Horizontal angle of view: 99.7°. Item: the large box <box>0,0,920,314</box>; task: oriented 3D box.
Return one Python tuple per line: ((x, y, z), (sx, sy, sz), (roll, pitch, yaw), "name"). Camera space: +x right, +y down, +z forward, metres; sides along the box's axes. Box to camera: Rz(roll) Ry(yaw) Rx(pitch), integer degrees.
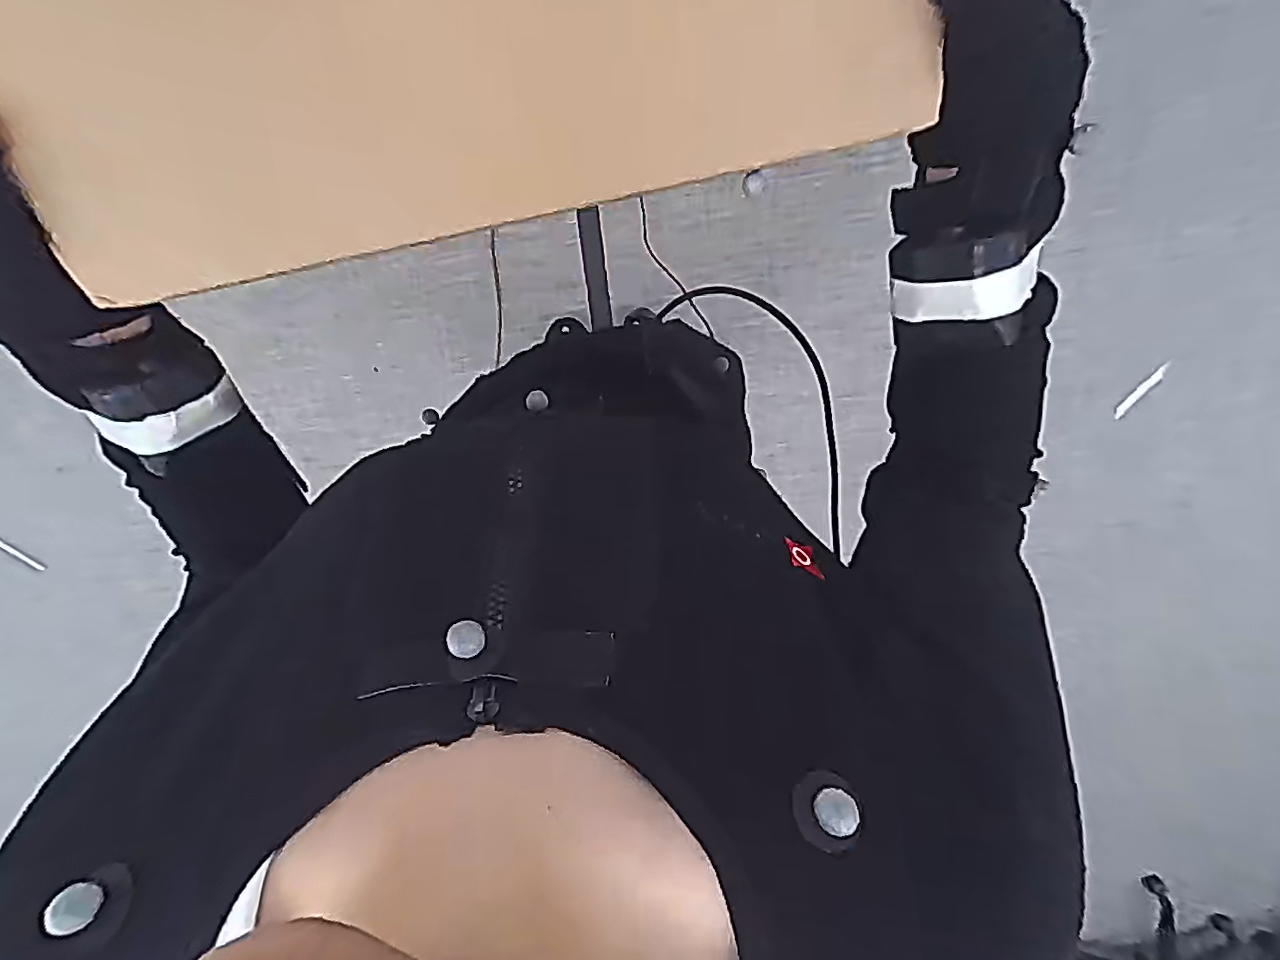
((-0.103, -0.328, 0.310), (0.408, 0.320, 0.320), (-11, 121, 4), "large box")
